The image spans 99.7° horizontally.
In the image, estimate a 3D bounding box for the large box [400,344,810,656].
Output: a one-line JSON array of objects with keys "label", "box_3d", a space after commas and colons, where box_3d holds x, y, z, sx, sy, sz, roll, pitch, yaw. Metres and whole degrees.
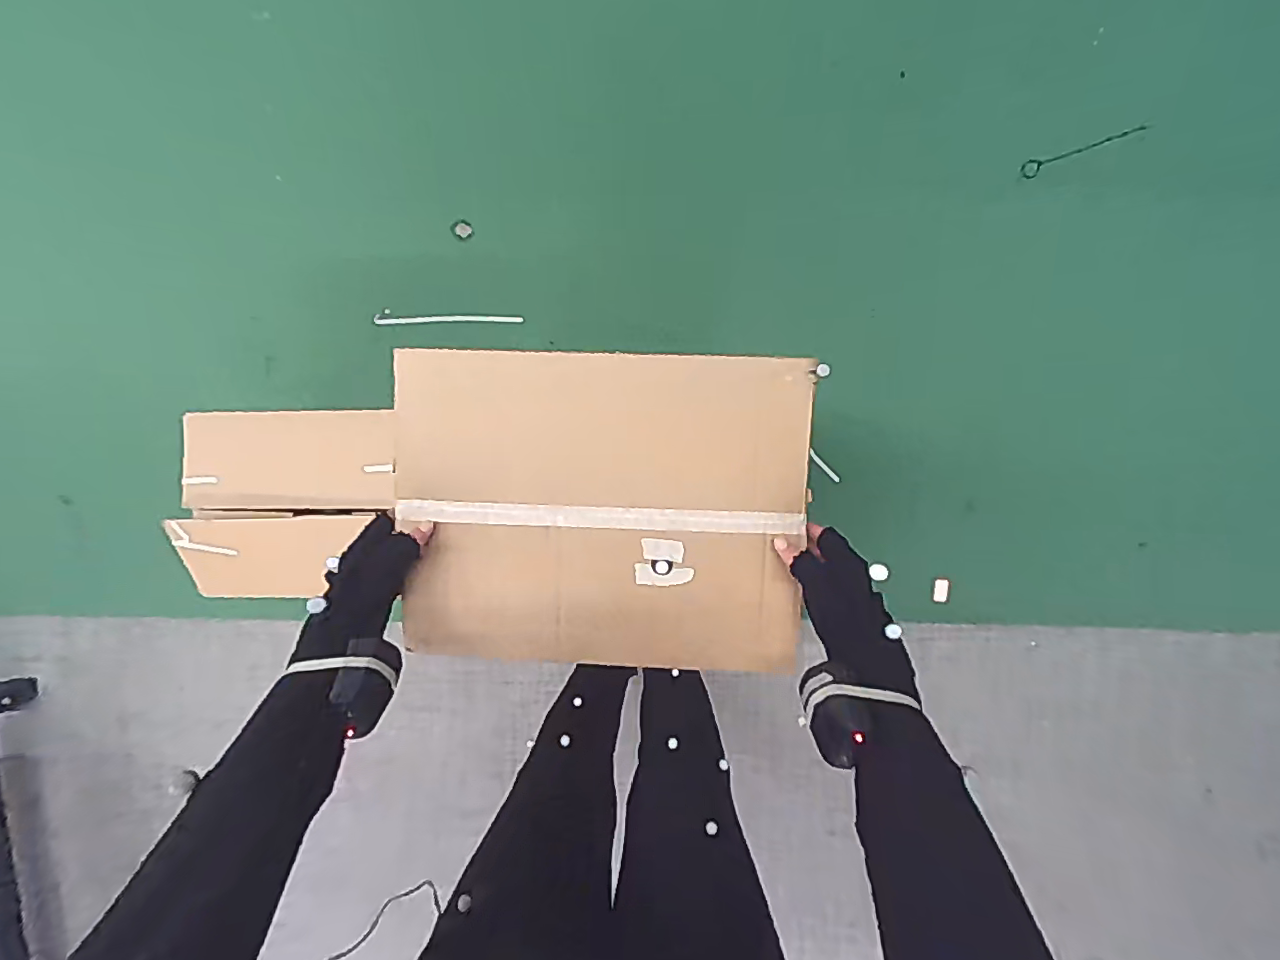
[{"label": "large box", "box_3d": [-0.033, 0.007, 0.684, 0.408, 0.320, 0.320, 2, 98, 2]}]
